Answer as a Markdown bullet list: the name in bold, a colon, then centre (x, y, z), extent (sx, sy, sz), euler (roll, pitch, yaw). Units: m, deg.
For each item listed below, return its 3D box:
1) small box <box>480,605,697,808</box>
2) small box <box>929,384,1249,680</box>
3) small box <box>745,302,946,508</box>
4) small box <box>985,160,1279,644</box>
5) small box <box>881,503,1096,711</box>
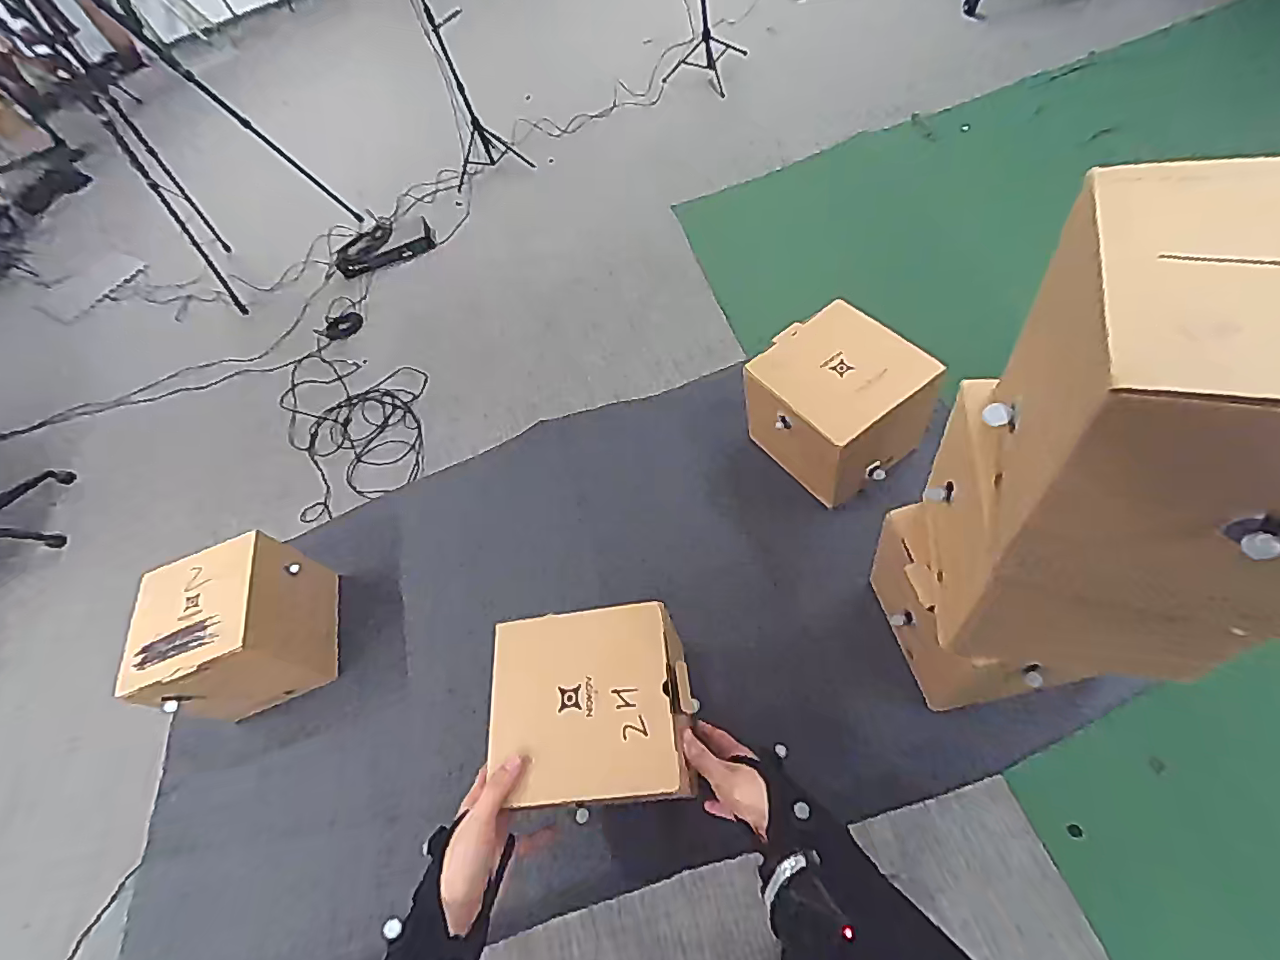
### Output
- **small box**: centre (-0.042, 0.241, 0.561), extent (0.179, 0.176, 0.168), euler (-8, 60, 7)
- **small box**: centre (0.335, 0.042, 0.417), extent (0.179, 0.176, 0.168), euler (2, 56, 17)
- **small box**: centre (0.262, -0.095, 0.727), extent (0.168, 0.176, 0.179), euler (-36, 58, -6)
- **small box**: centre (0.302, -0.032, 0.272), extent (0.179, 0.176, 0.168), euler (11, 59, 23)
- **small box**: centre (0.366, 0.122, 0.557), extent (0.179, 0.176, 0.168), euler (-16, 53, 6)
